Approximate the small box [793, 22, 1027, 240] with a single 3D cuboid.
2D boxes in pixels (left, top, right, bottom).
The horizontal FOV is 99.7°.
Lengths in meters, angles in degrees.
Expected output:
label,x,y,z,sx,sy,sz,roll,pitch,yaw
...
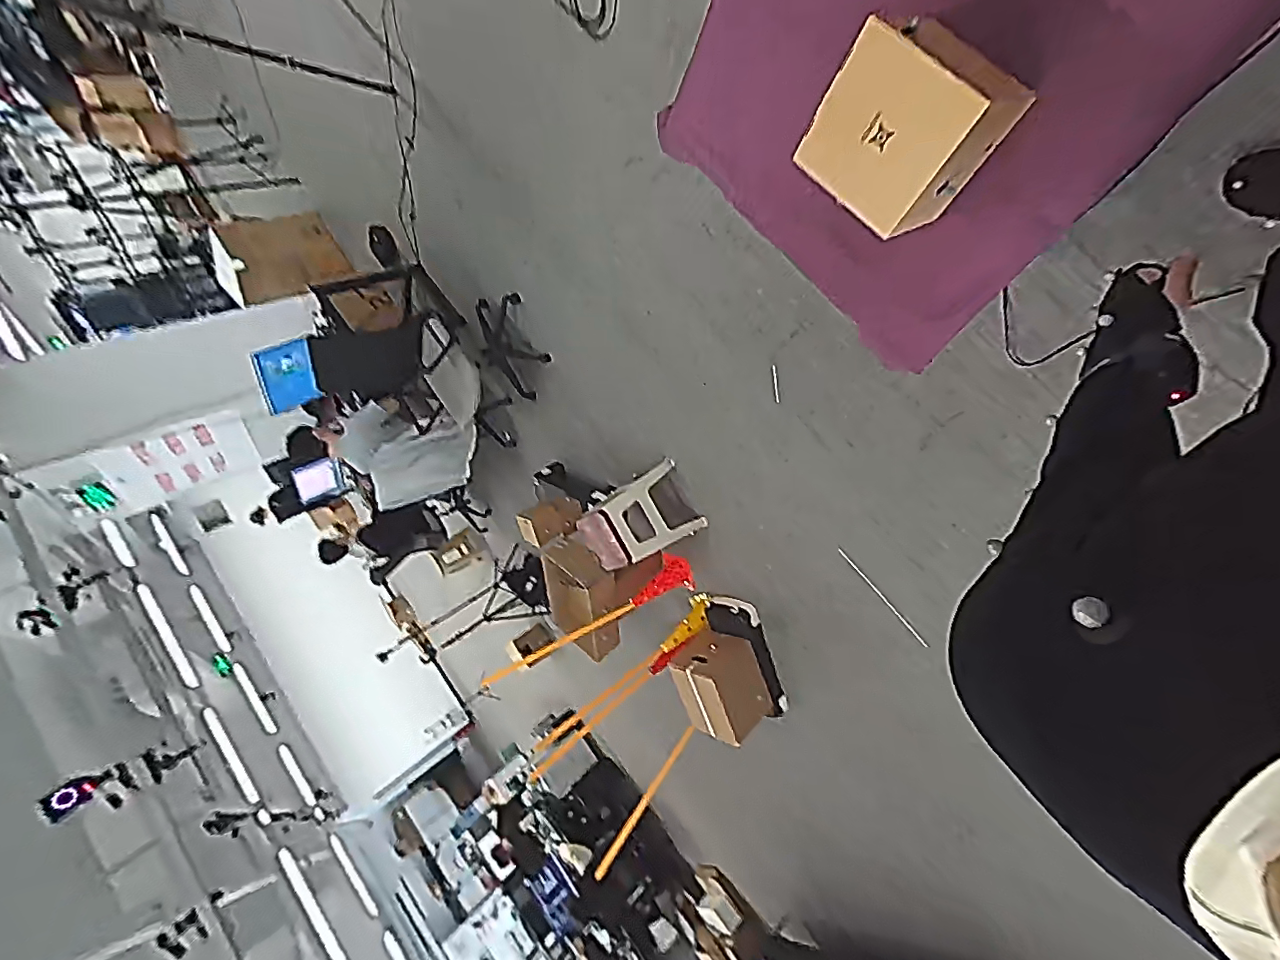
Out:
label,x,y,z,sx,sy,sz,roll,pitch,yaw
small box,0.343,-0.447,0.694,0.179,0.176,0.168,50,145,14
